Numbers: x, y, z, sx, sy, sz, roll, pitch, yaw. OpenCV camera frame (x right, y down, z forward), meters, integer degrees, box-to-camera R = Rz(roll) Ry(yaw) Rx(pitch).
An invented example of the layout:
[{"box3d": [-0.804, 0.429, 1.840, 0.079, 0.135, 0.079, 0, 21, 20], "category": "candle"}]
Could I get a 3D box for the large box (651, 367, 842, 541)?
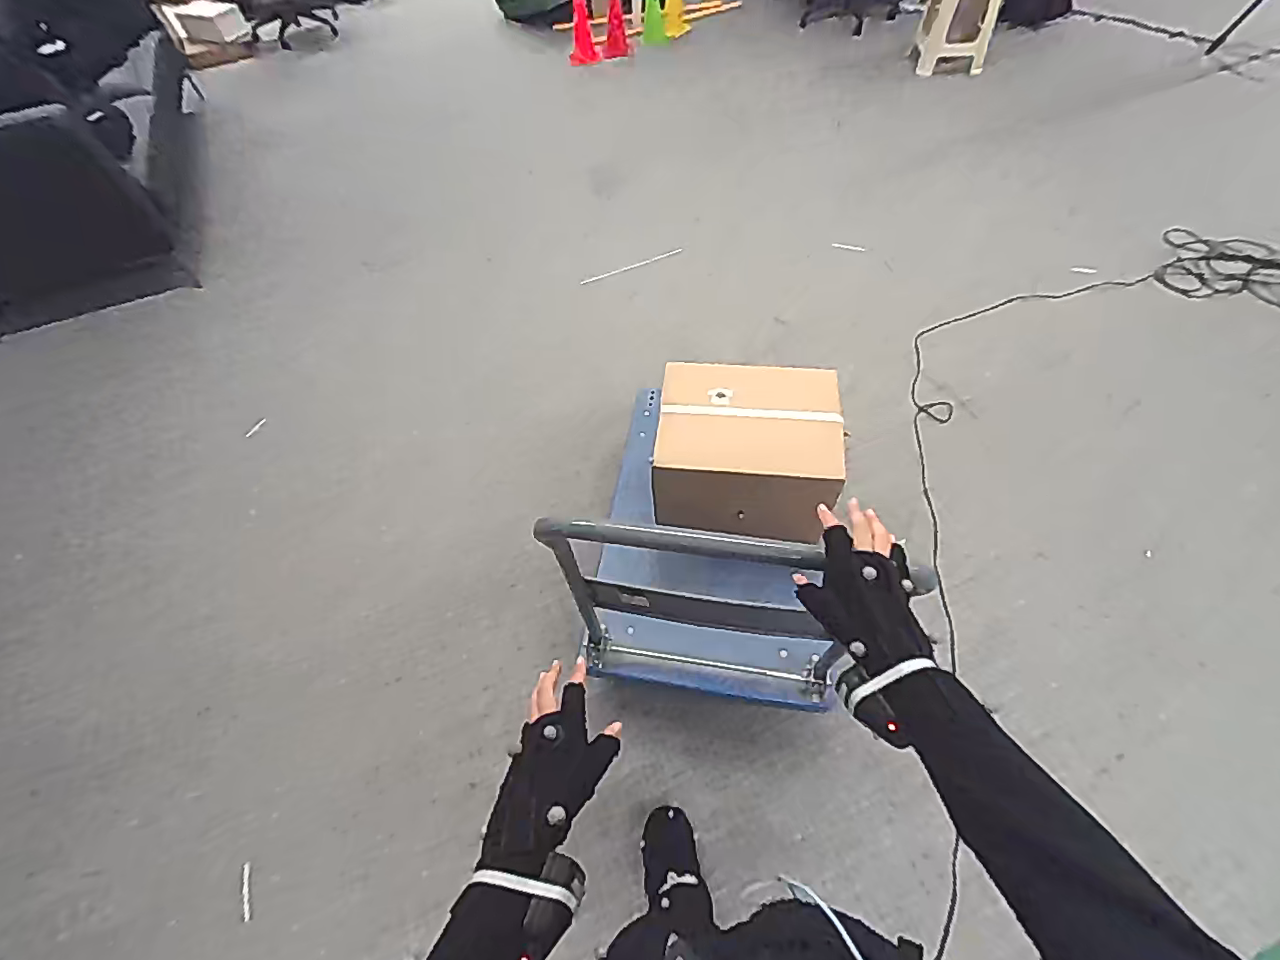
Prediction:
[{"box3d": [0.253, -0.059, 1.341, 0.408, 0.320, 0.320, 4, 57, 9], "category": "large box"}]
